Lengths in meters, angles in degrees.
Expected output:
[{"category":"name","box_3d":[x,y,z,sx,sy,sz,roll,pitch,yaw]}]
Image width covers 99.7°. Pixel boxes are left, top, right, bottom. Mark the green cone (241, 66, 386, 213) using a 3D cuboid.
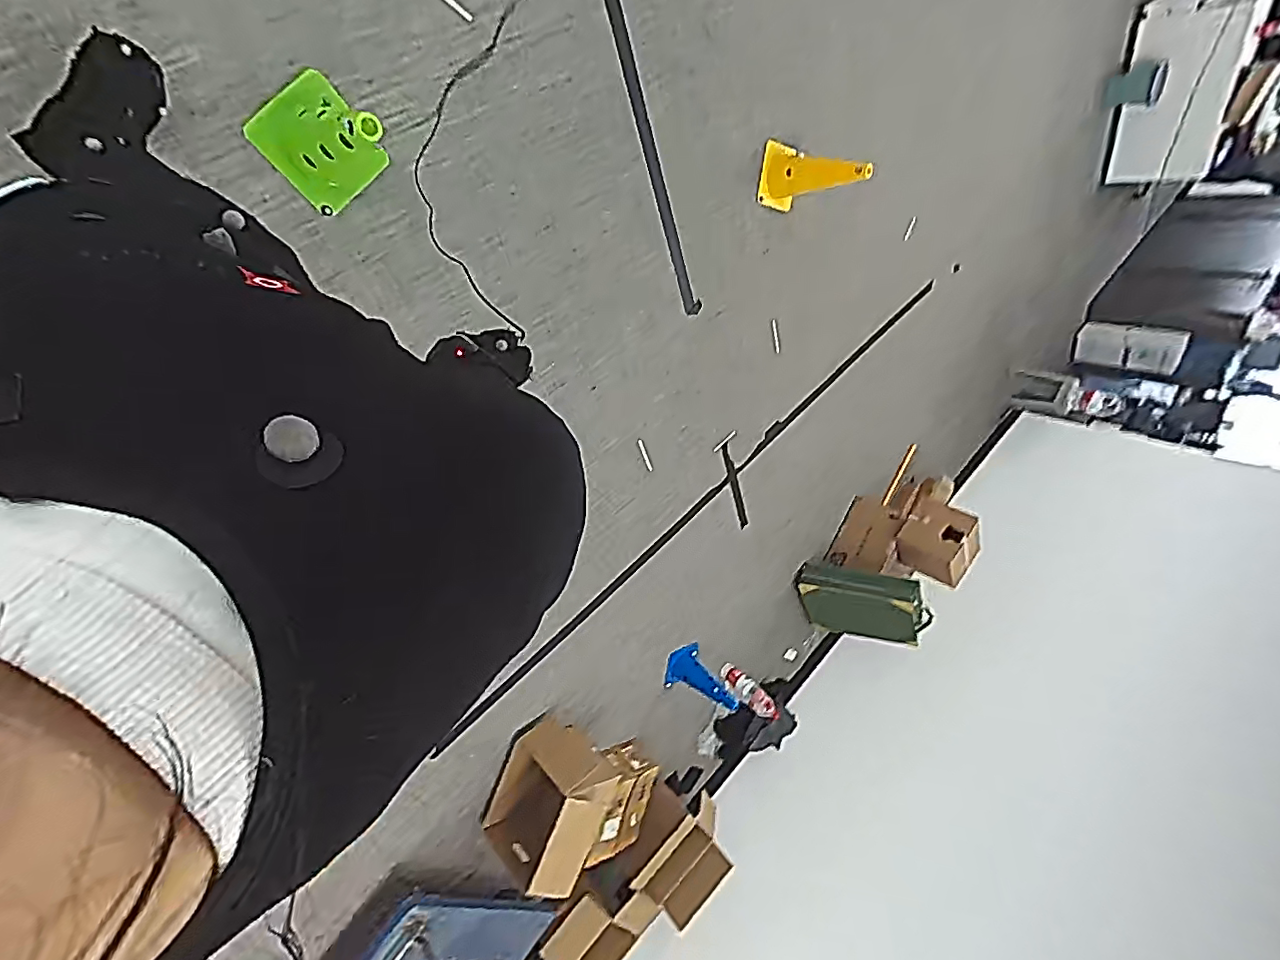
[{"category":"green cone","box_3d":[-0.549,-0.634,0.985,0.200,0.368,0.202,-53,134,-11]}]
